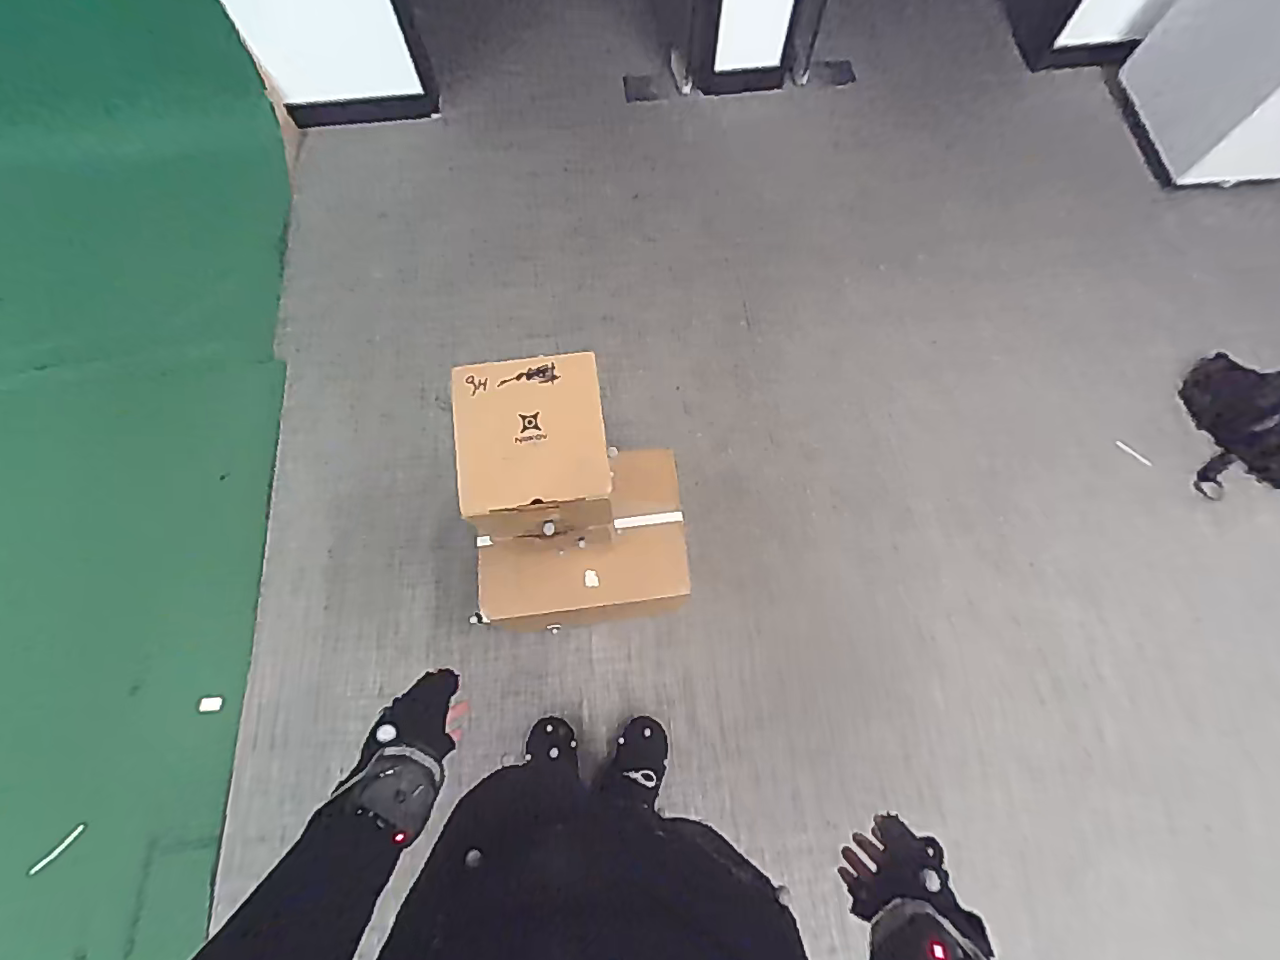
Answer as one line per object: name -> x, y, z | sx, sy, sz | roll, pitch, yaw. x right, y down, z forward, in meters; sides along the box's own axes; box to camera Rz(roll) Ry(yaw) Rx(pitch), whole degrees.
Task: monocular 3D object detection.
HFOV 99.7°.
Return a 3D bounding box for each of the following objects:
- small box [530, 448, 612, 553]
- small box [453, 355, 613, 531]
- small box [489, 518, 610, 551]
small box -> -0.140, 0.040, 0.996 | 0.179, 0.176, 0.168 | 0, 74, -1
small box -> -0.125, -0.034, 0.682 | 0.168, 0.176, 0.179 | -7, 77, -4
small box -> -0.139, 0.010, 0.839 | 0.168, 0.176, 0.179 | -8, 75, -4
